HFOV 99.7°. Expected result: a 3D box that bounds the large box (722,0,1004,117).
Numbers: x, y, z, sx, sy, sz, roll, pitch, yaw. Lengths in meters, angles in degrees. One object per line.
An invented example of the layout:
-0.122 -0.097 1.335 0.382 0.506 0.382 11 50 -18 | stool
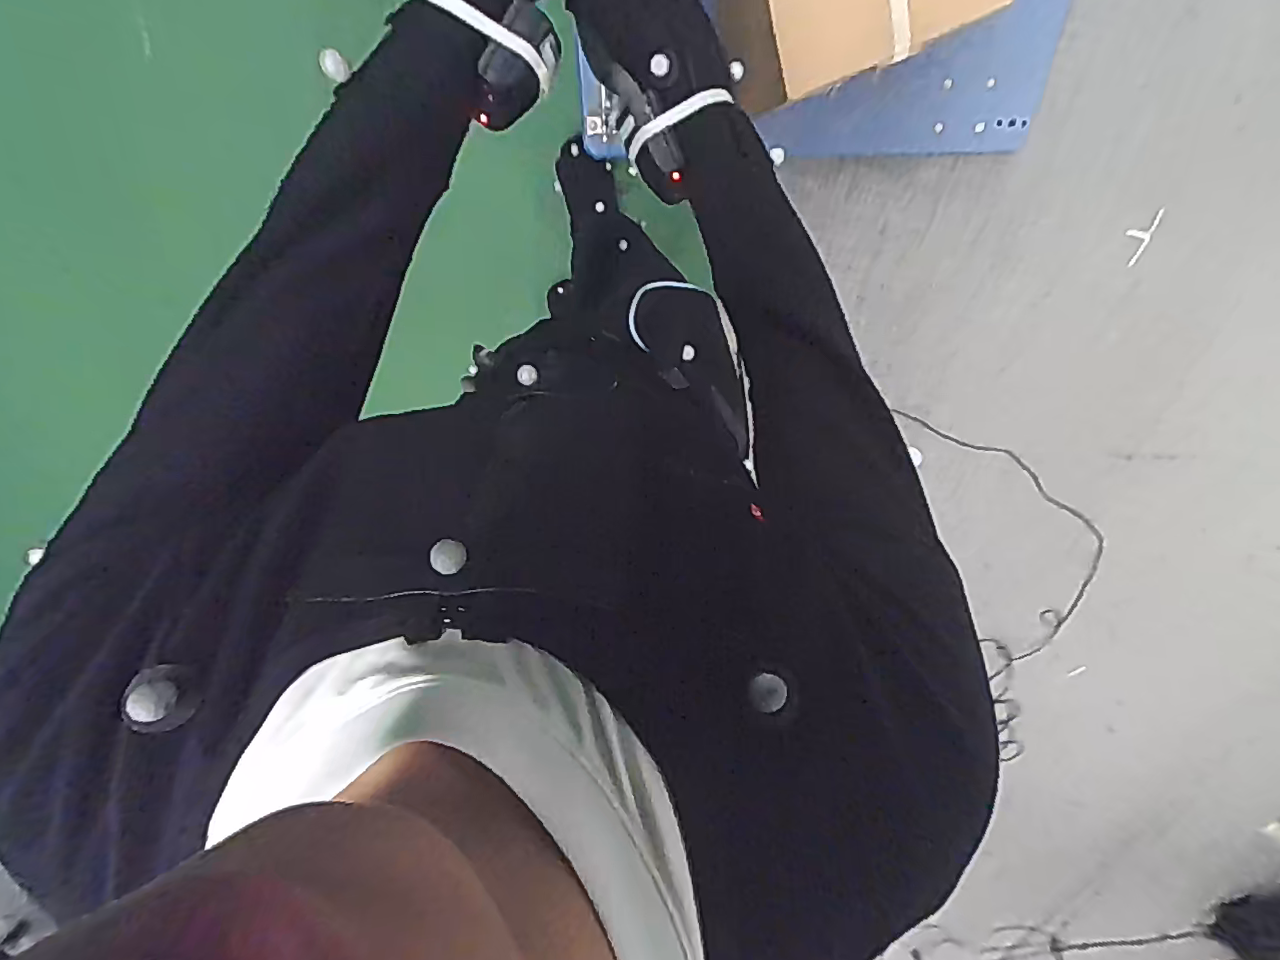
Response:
0.278 -0.818 0.773 0.320 0.320 0.408 -18 117 8 | large box
